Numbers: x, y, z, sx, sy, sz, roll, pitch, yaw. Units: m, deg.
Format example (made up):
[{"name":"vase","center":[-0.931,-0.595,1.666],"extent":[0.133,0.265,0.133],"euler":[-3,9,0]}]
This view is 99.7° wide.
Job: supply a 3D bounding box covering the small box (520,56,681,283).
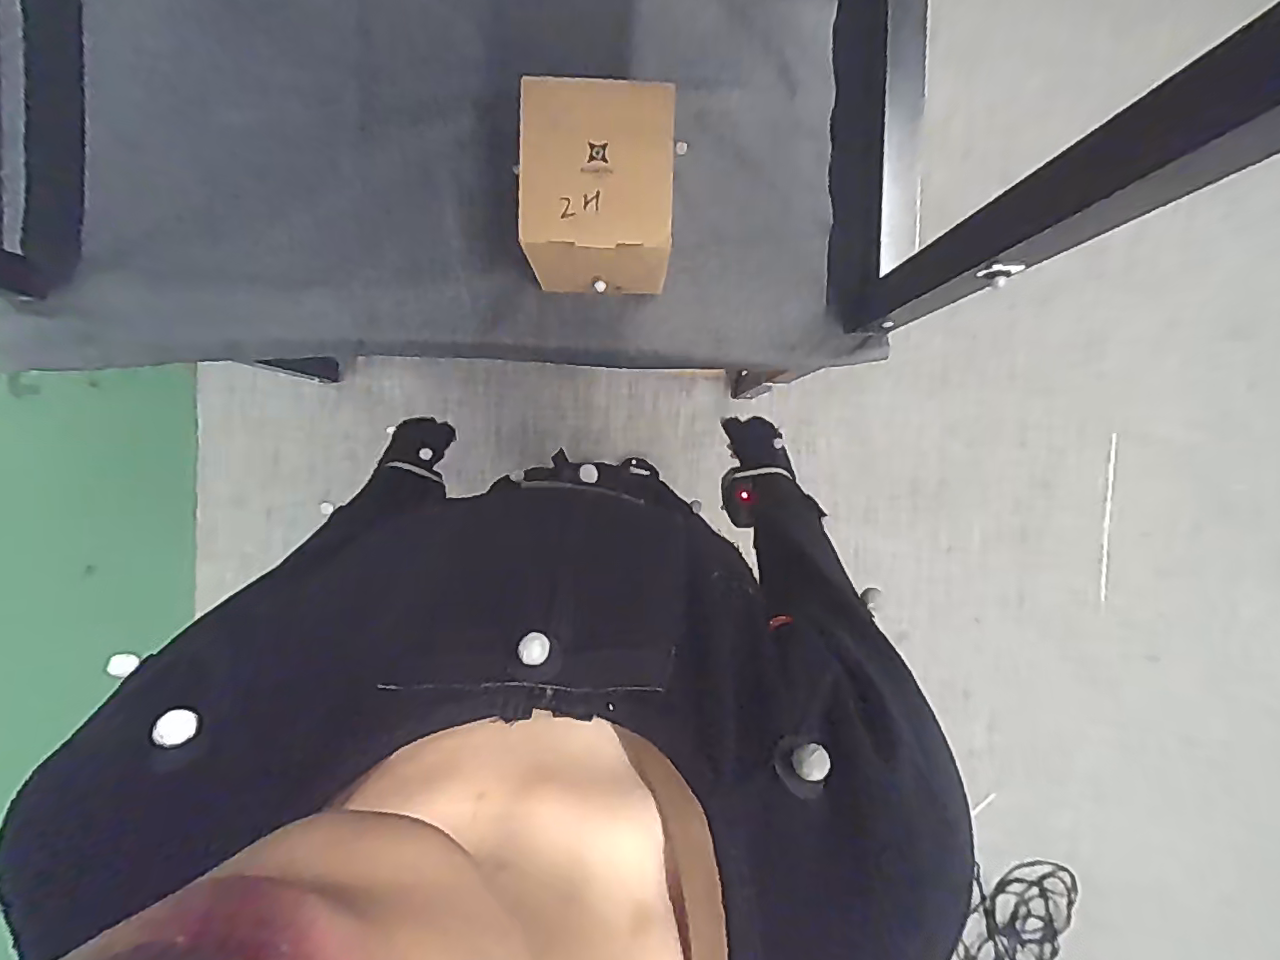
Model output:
[{"name":"small box","center":[-0.044,-0.355,0.647],"extent":[0.168,0.176,0.179],"euler":[2,92,-1]}]
